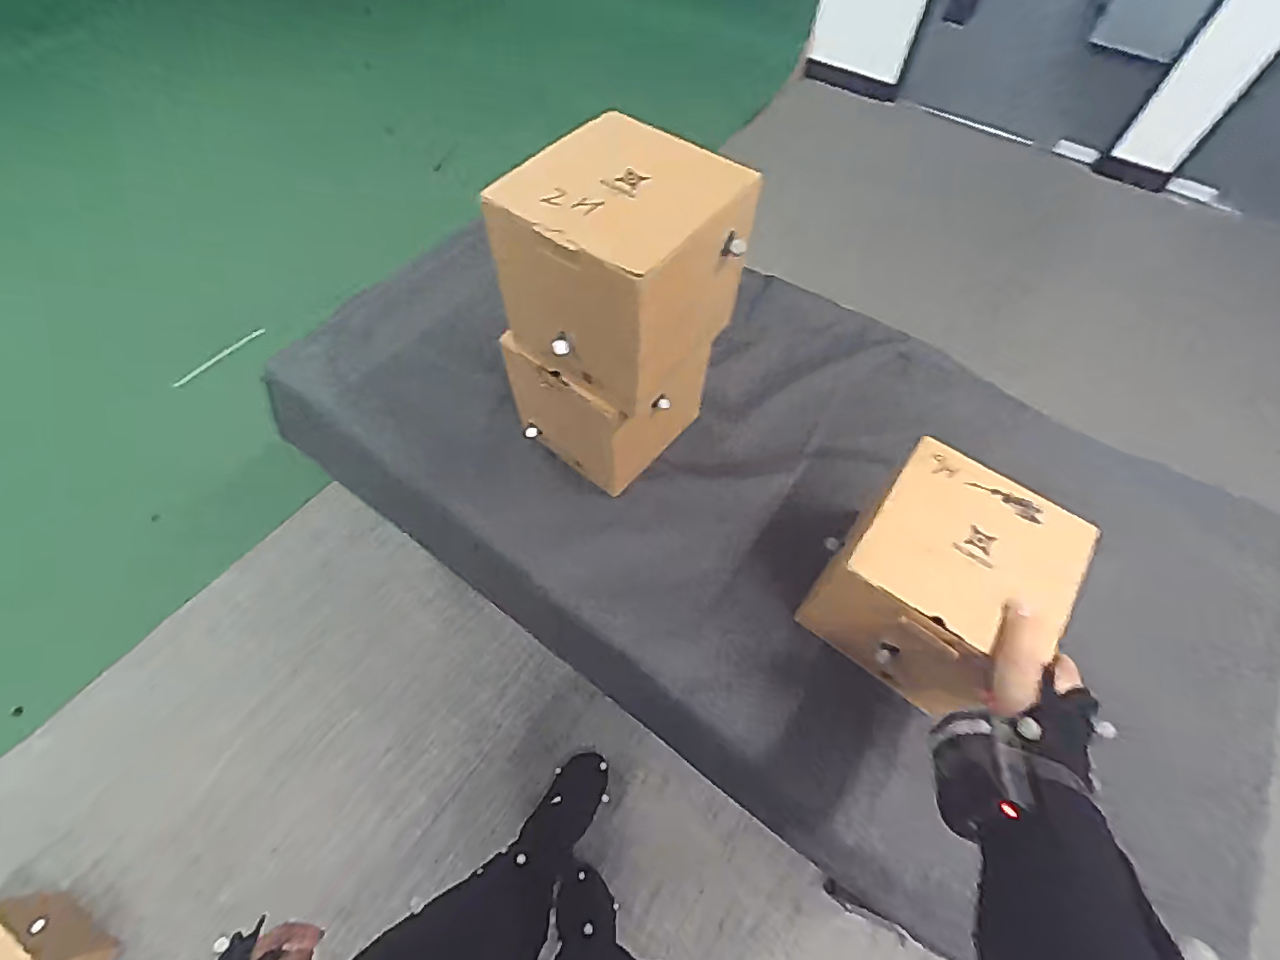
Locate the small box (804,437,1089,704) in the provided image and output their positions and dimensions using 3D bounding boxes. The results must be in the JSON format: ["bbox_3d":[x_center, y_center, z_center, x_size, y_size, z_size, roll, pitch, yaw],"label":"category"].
[{"bbox_3d":[0.286,0.098,0.544,0.168,0.176,0.179,35,65,17],"label":"small box"}]

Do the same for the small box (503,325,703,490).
[{"bbox_3d":[-0.036,-0.120,0.665,0.168,0.176,0.179,36,64,18],"label":"small box"}]

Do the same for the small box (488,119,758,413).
[{"bbox_3d":[-0.015,-0.201,0.523,0.168,0.176,0.179,33,64,17],"label":"small box"}]

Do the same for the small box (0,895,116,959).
[{"bbox_3d":[-1.069,0.843,0.916,0.179,0.176,0.168,26,61,15],"label":"small box"}]
